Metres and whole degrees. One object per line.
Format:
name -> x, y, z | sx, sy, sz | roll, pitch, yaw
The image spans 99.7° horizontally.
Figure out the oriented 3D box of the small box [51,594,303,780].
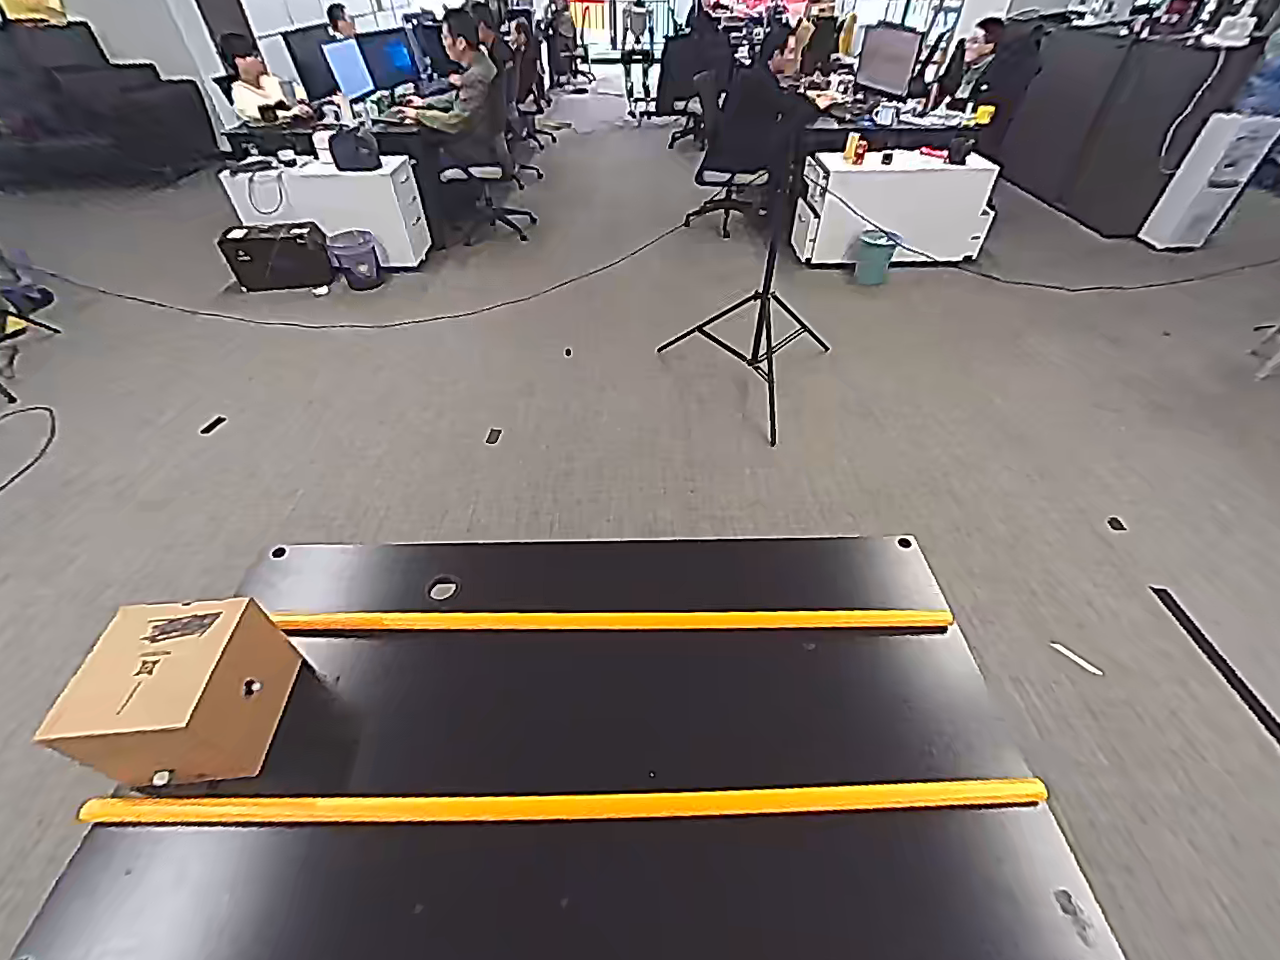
small box -> -0.589, 0.276, 0.726 | 0.168, 0.176, 0.179 | -3, 45, -3
